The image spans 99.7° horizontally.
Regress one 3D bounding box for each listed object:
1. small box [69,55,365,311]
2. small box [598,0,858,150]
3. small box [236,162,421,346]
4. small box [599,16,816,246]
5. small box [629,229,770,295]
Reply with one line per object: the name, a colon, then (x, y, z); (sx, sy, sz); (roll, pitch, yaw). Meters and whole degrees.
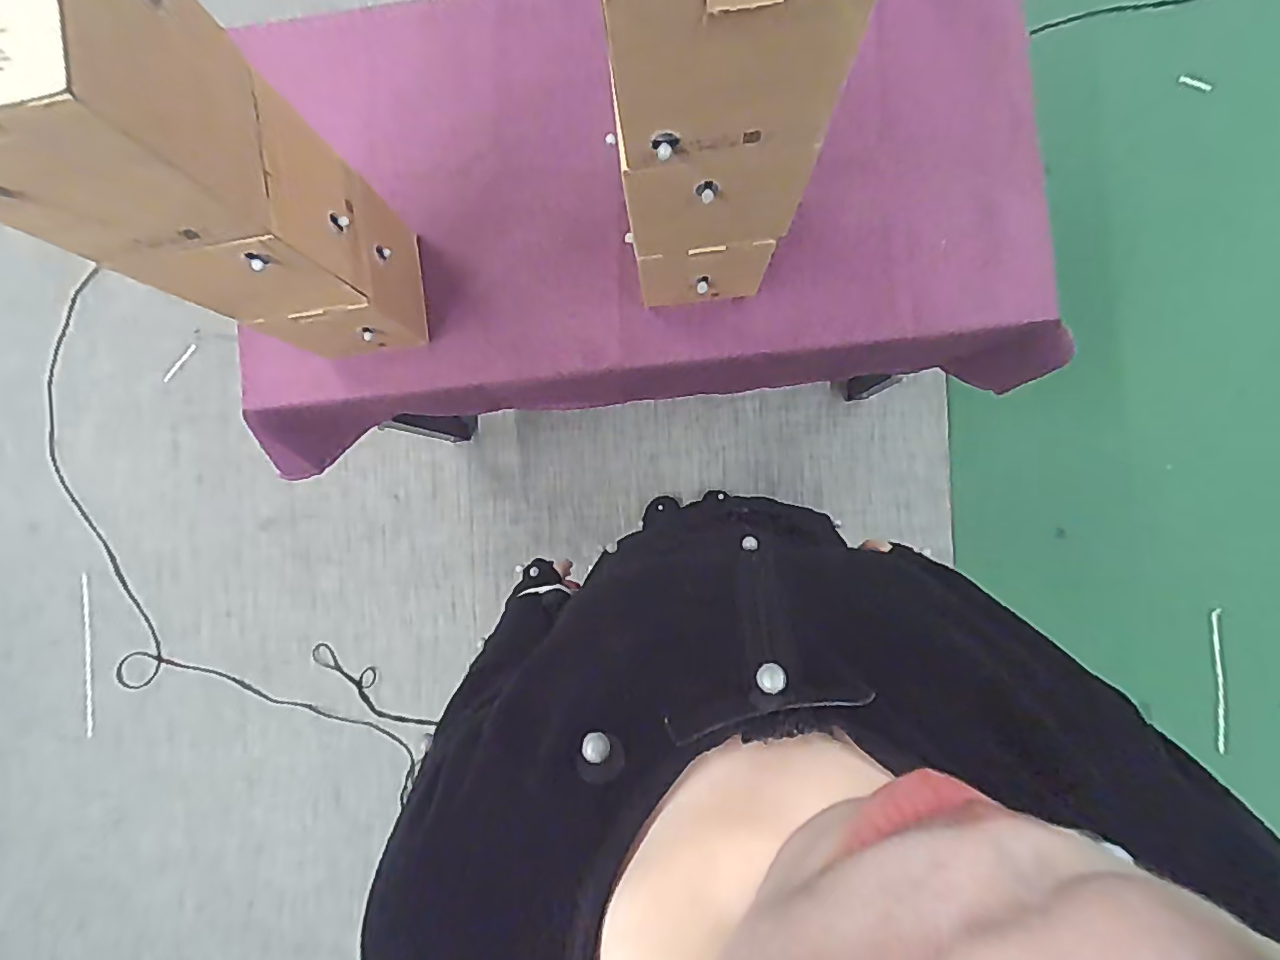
small box: (-0.429, -0.294, 0.574); (0.179, 0.176, 0.168); (-9, 88, 1)
small box: (0.054, -0.365, 0.381); (0.168, 0.176, 0.179); (-6, 87, 3)
small box: (-0.416, -0.290, 0.736); (0.168, 0.176, 0.179); (-7, 88, 2)
small box: (0.063, -0.356, 0.545); (0.179, 0.176, 0.168); (-6, 89, 3)
small box: (0.069, -0.355, 0.710); (0.168, 0.176, 0.179); (-5, 89, 3)
